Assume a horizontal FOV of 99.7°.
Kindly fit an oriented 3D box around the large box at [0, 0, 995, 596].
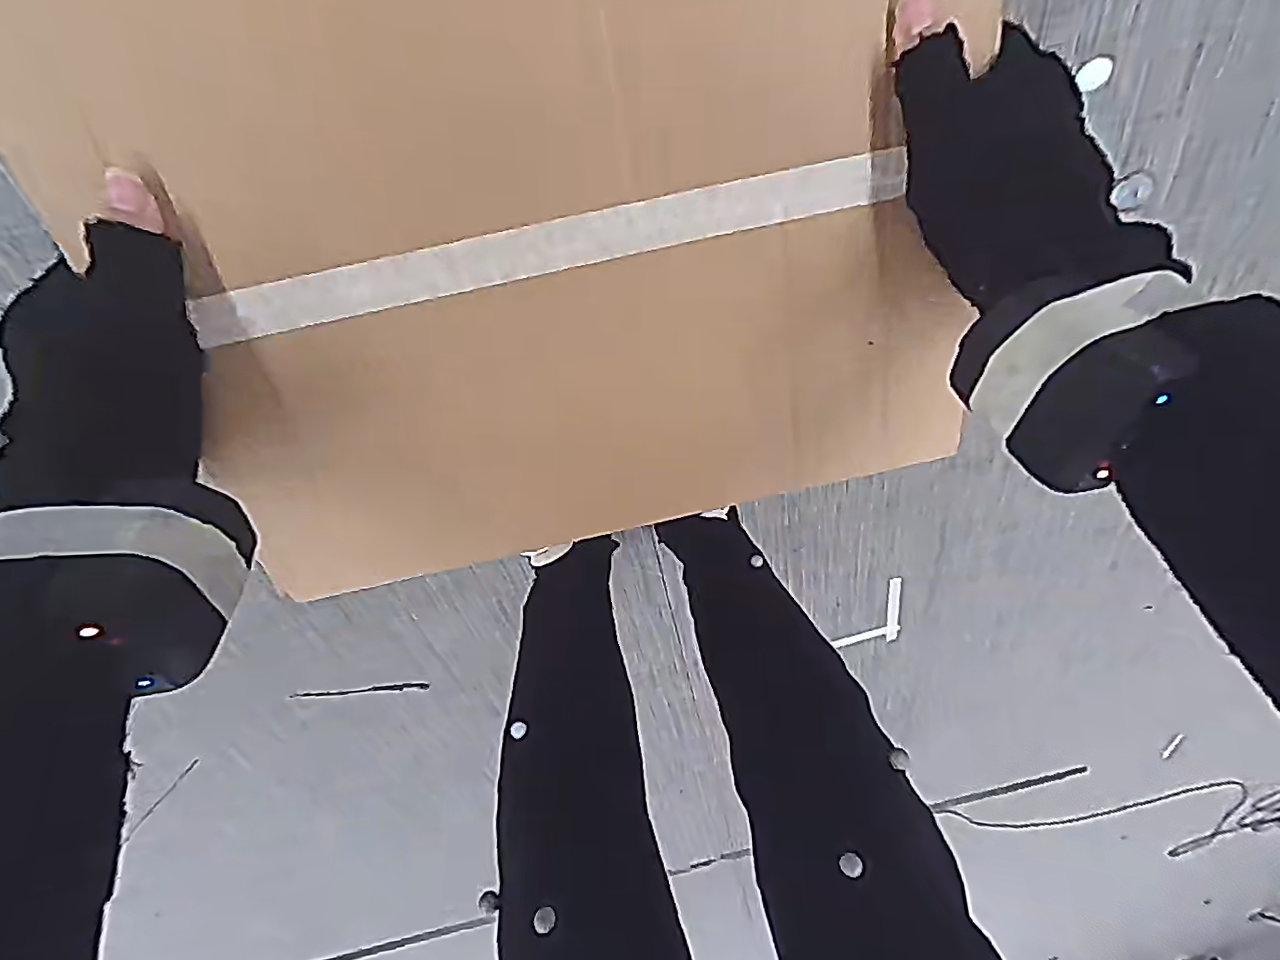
[{"bbox_3d":[-0.050,-0.171,0.390,0.408,0.320,0.320,-13,118,-2],"label":"large box"}]
